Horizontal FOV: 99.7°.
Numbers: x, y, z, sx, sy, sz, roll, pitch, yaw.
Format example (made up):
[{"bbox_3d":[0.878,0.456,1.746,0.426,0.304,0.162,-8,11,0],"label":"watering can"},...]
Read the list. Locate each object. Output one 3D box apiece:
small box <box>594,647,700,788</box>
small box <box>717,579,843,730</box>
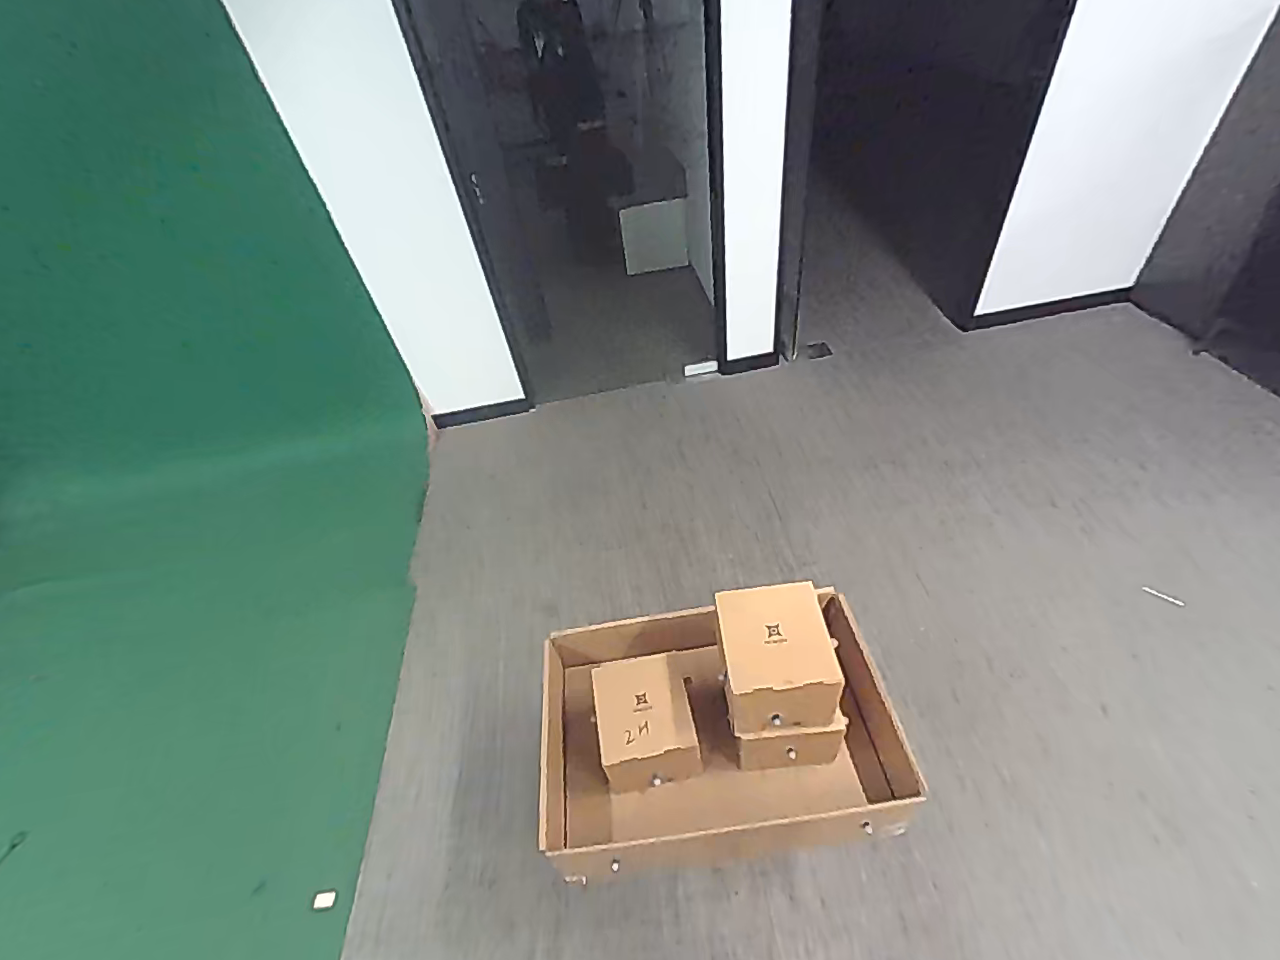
[{"bbox_3d":[0.013,0.445,1.012,0.168,0.176,0.179,-11,45,-2],"label":"small box"},{"bbox_3d":[0.221,0.291,0.901,0.168,0.176,0.179,-8,44,4],"label":"small box"}]
